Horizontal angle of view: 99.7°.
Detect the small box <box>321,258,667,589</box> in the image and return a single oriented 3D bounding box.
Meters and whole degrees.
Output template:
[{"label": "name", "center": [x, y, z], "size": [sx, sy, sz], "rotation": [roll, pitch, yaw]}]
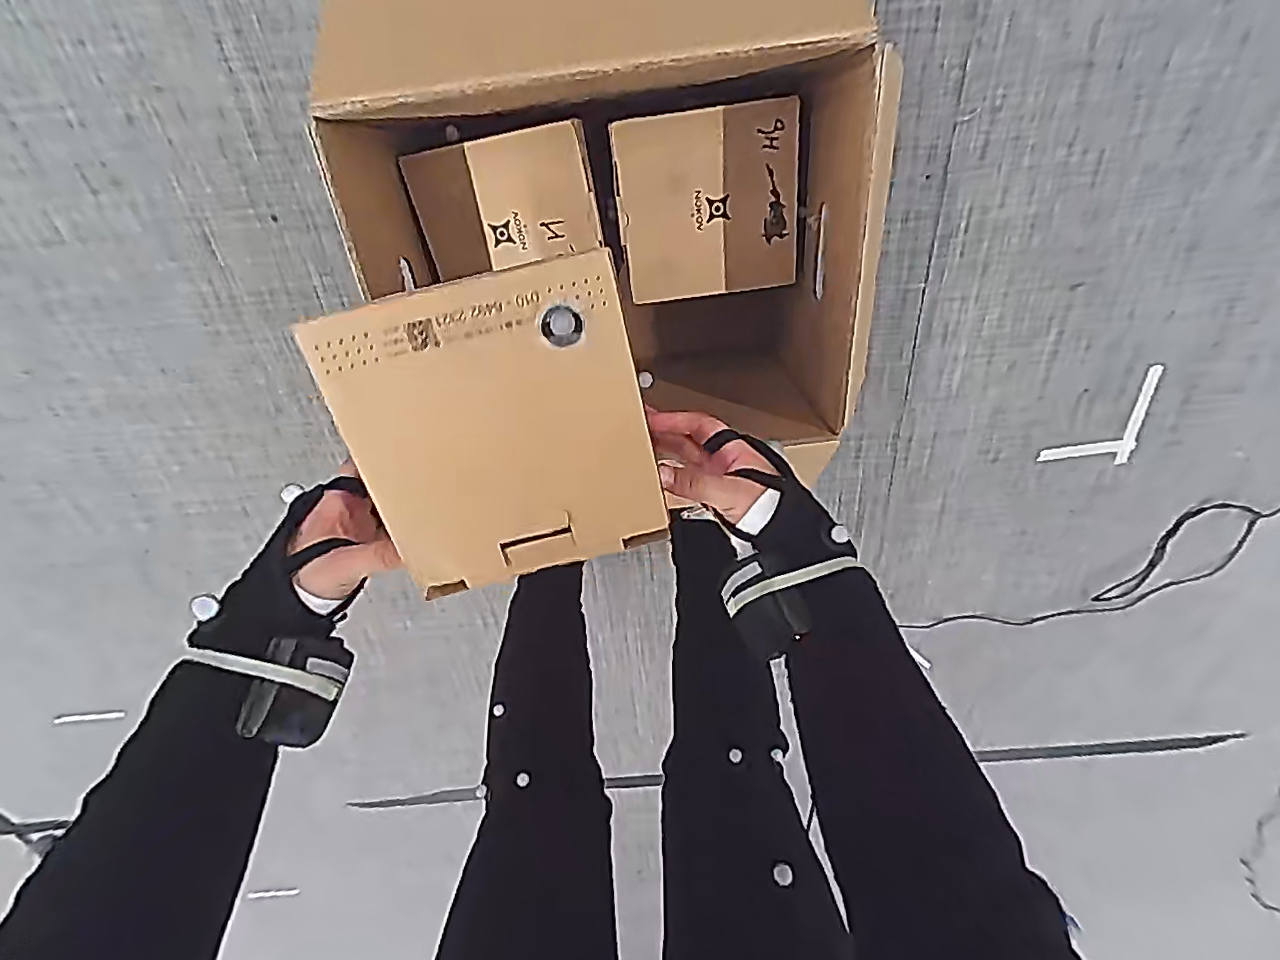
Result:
[{"label": "small box", "center": [-0.088, -0.055, 0.389], "size": [0.168, 0.179, 0.176], "rotation": [-14, 113, -2]}]
